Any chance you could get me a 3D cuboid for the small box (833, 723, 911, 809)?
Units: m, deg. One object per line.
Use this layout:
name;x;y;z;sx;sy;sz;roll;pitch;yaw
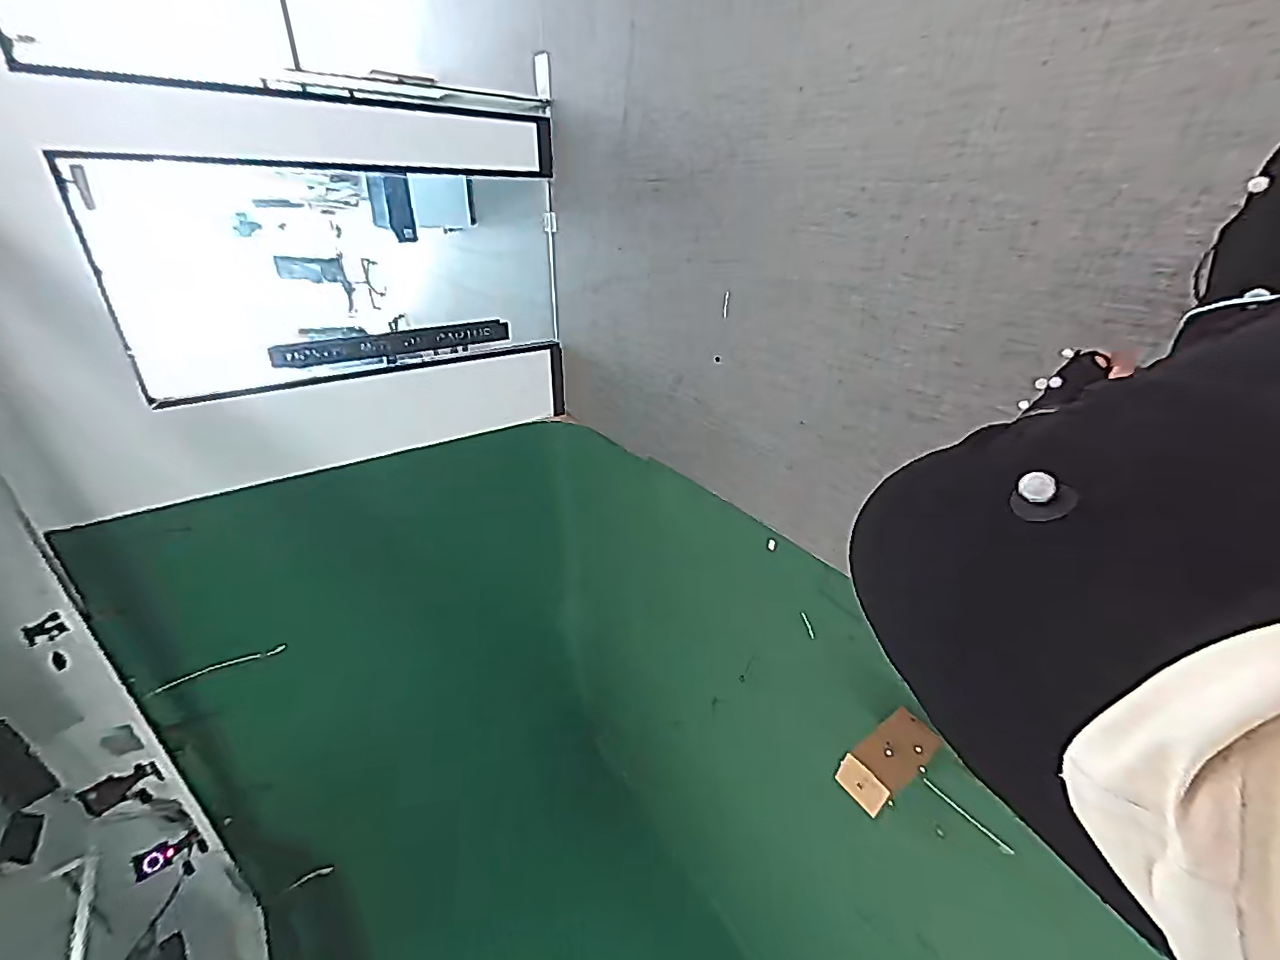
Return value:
small box;0.820;1.005;1.907;0.168;0.176;0.179;40;136;40
